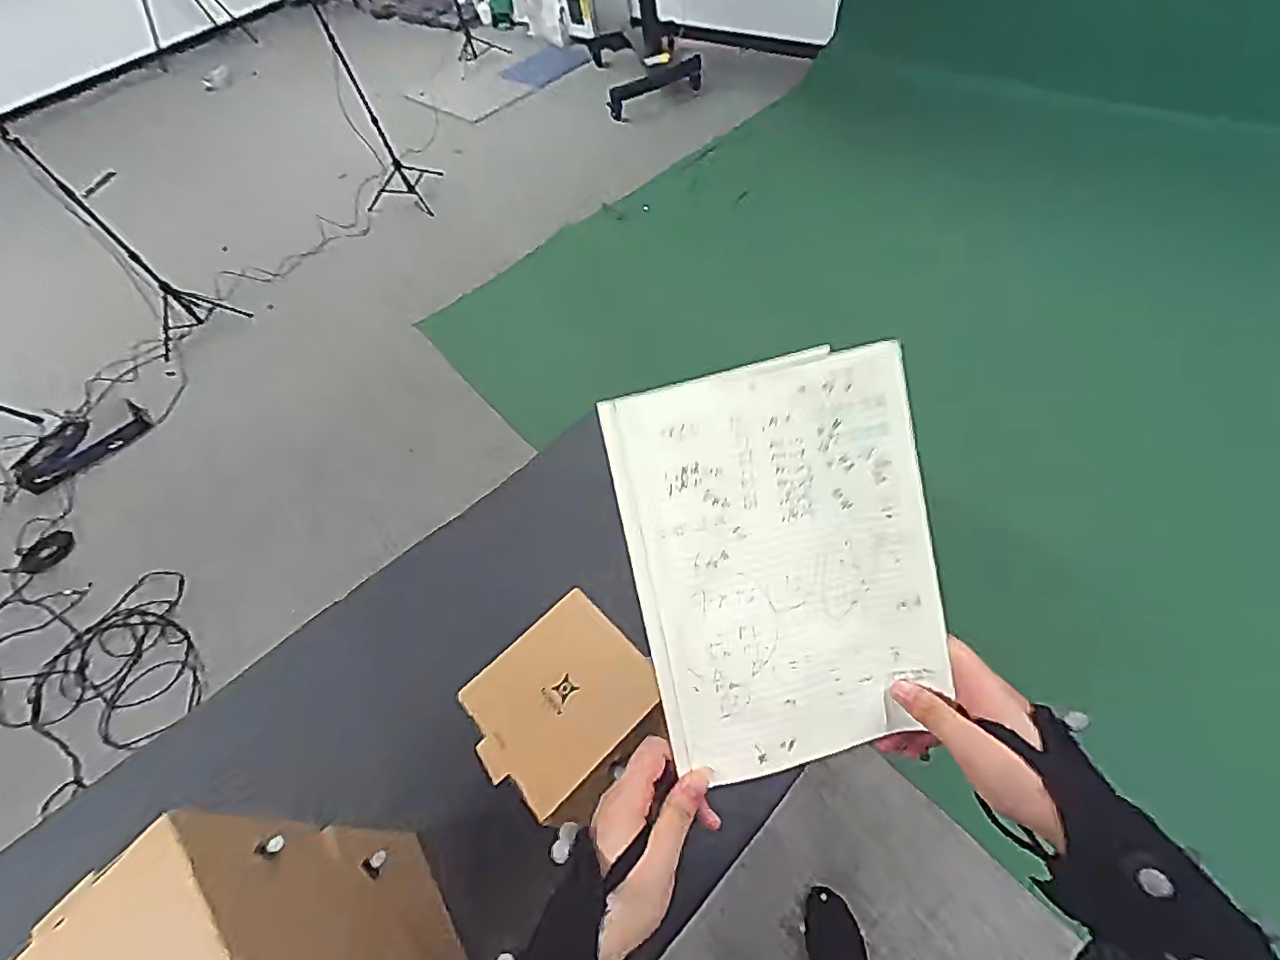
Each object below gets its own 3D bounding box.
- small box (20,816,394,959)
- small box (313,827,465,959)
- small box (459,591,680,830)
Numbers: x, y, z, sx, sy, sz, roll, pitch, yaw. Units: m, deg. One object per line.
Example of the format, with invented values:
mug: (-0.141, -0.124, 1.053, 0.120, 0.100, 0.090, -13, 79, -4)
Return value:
small box: (-0.323, 0.389, 0.399, 0.179, 0.176, 0.168, 30, 67, 28)
small box: (-0.299, 0.483, 0.528, 0.168, 0.176, 0.179, -38, 56, -14)
small box: (-0.068, 0.269, 0.630, 0.179, 0.176, 0.168, -42, 57, -16)
